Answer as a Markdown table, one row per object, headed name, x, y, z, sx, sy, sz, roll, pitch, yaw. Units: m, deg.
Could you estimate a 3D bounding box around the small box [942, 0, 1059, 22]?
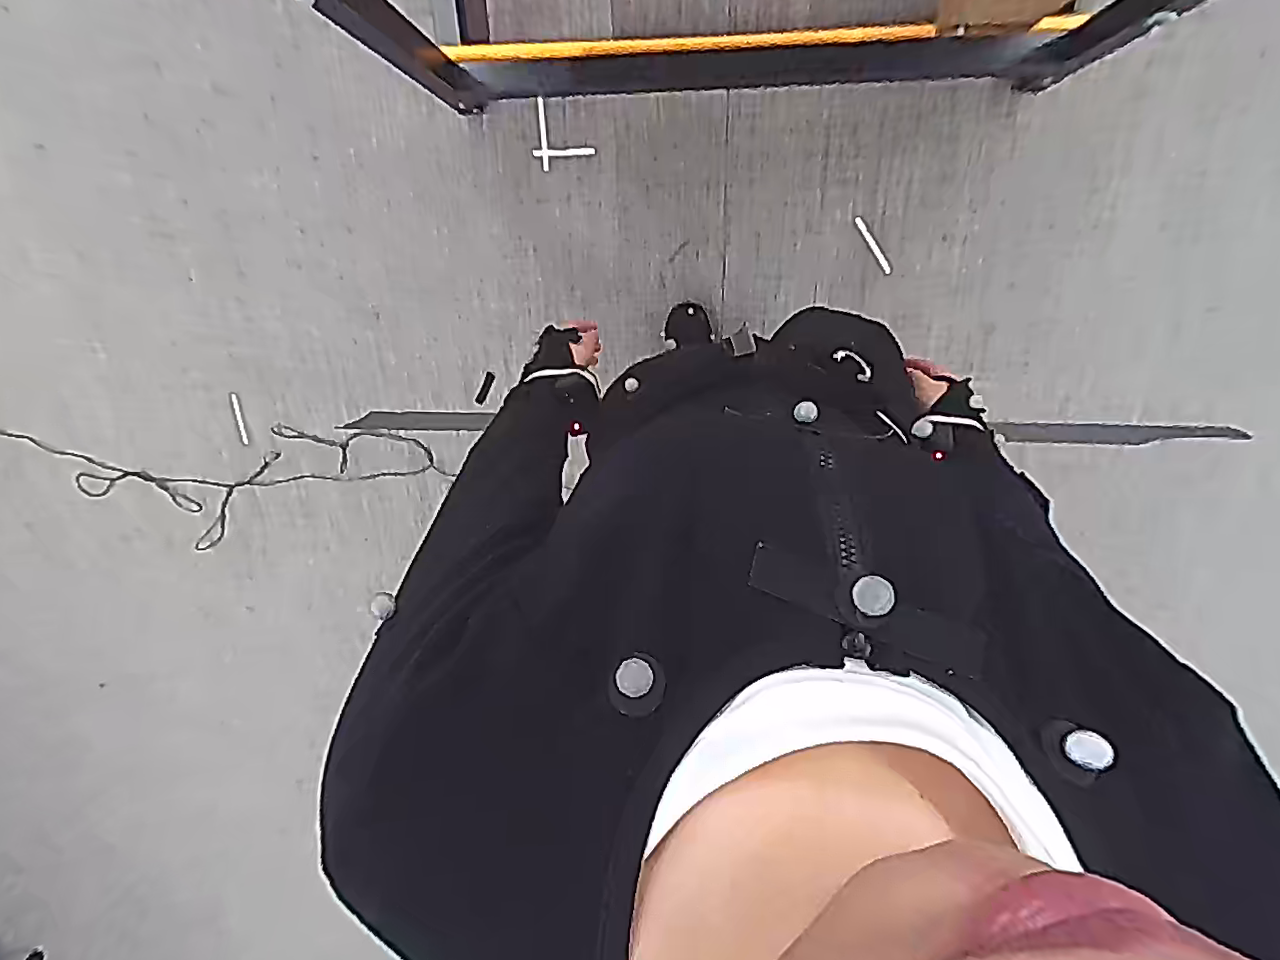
| name | x | y | z | sx | sy | sz | roll | pitch | yaw |
| --- | --- | --- | --- | --- | --- | --- | --- | --- | --- |
| small box | 0.591 | -0.838 | 0.829 | 0.168 | 0.176 | 0.179 | 2 | 110 | 5 |
